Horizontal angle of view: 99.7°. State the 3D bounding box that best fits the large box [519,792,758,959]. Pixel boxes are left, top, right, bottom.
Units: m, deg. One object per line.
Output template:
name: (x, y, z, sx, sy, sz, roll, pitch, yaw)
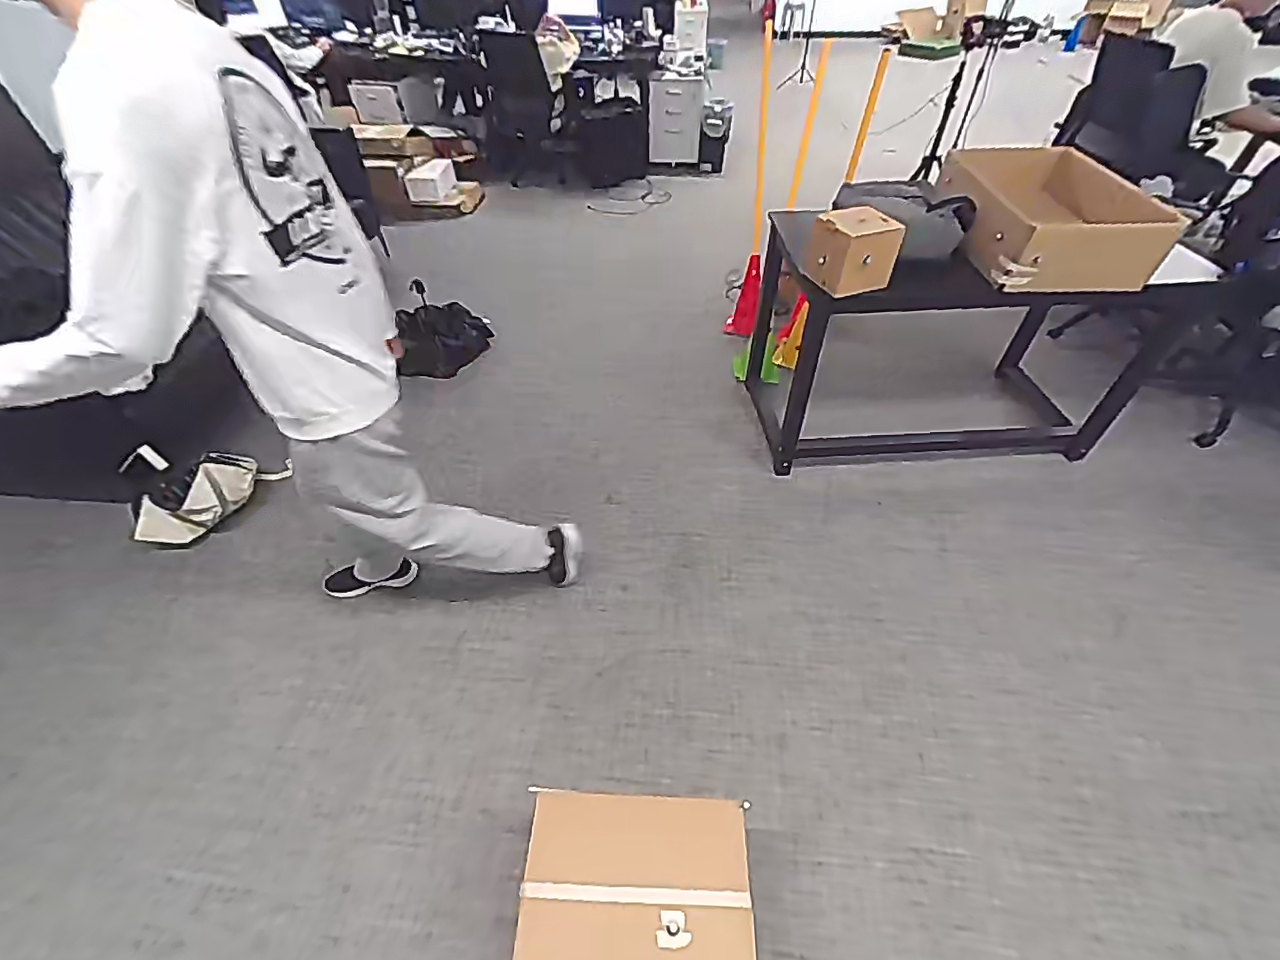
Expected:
large box: (0.002, 0.831, 1.059, 0.408, 0.320, 0.320, 1, 47, 3)
